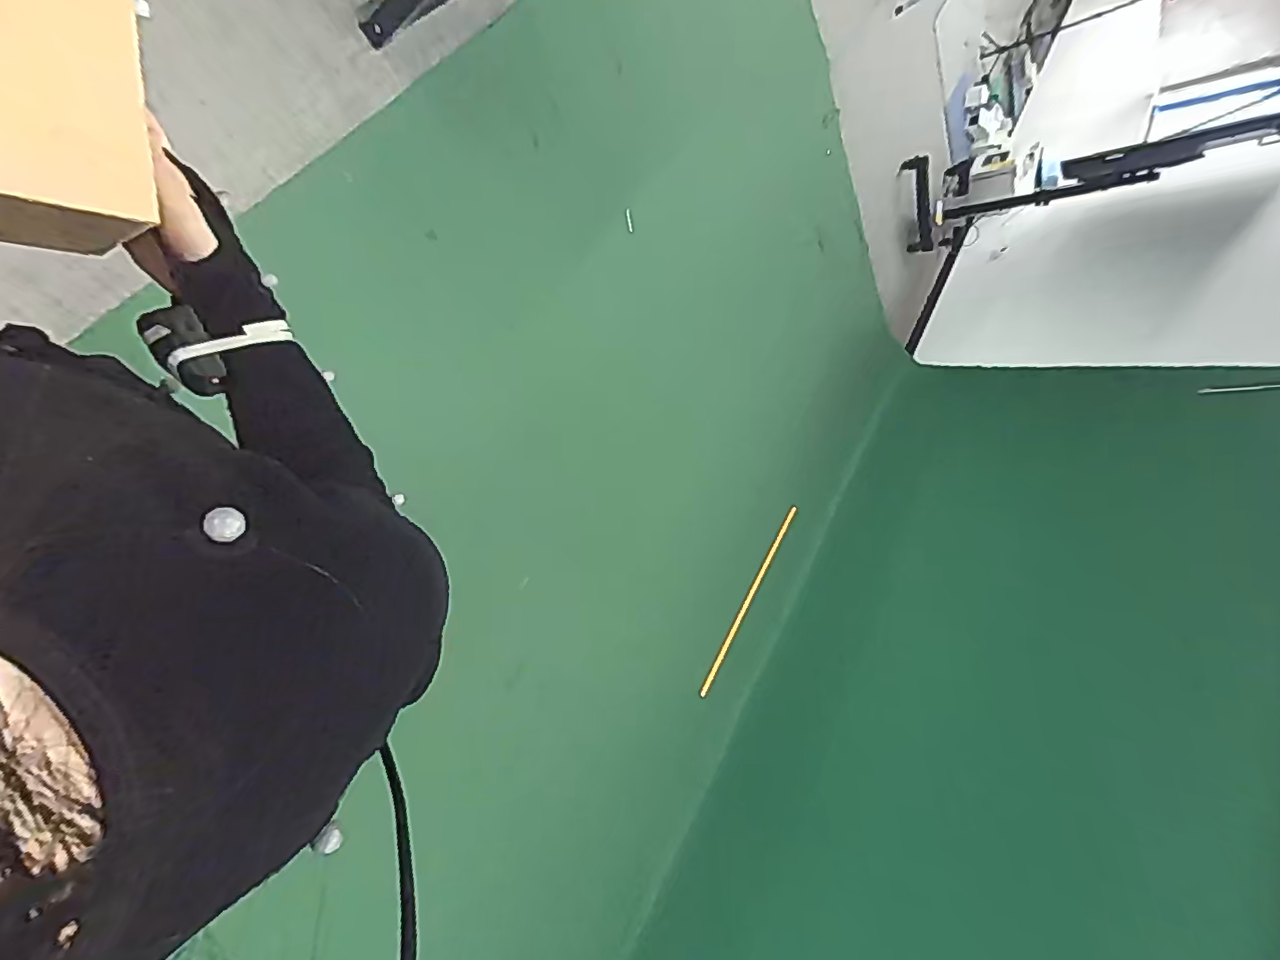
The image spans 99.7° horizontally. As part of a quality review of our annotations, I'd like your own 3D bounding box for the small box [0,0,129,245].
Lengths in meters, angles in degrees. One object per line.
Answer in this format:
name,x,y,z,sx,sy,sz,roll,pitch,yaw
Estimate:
small box,-0.416,-0.243,0.295,0.168,0.176,0.179,-11,105,-53
